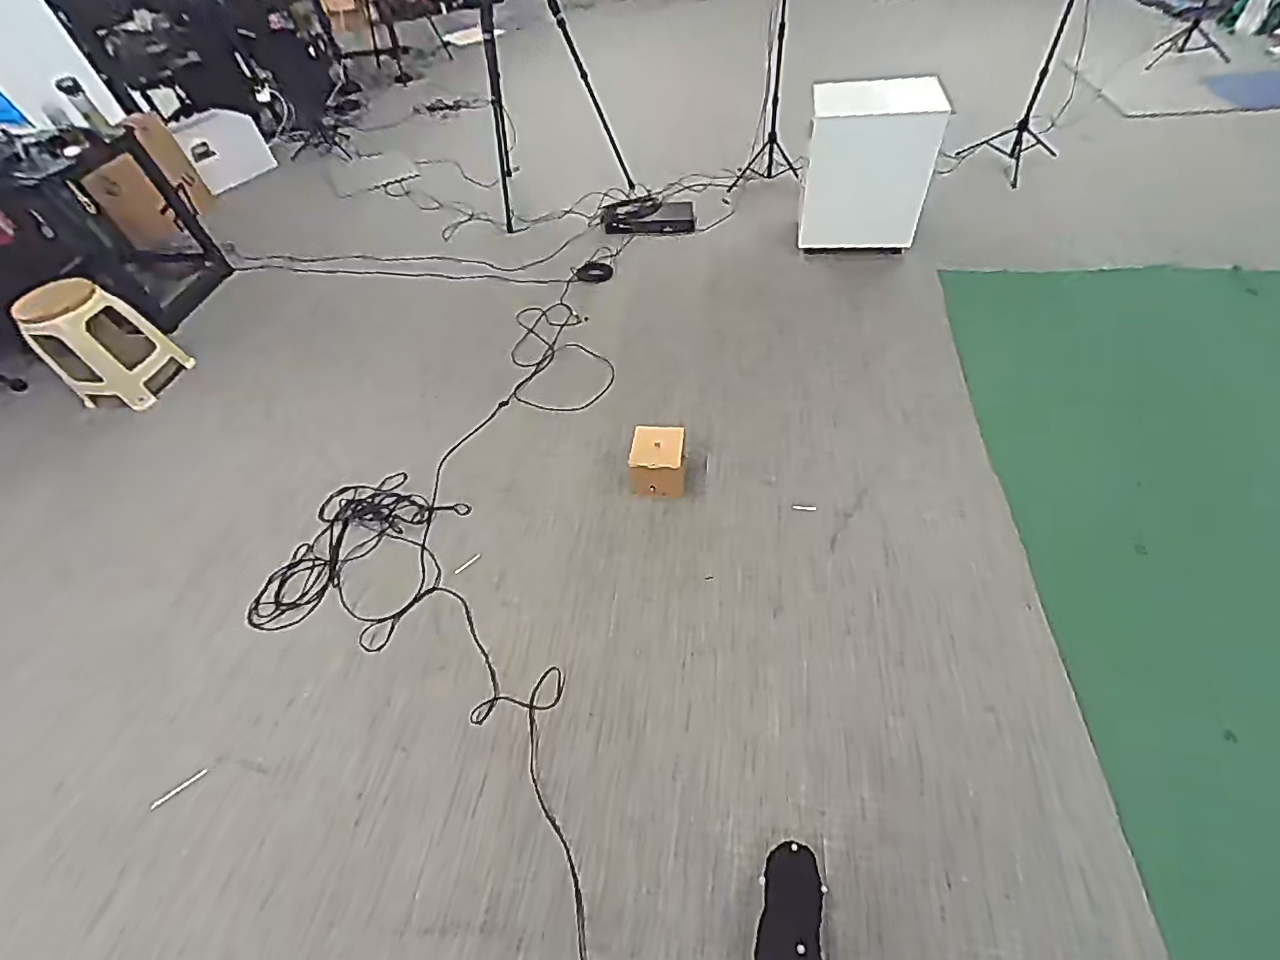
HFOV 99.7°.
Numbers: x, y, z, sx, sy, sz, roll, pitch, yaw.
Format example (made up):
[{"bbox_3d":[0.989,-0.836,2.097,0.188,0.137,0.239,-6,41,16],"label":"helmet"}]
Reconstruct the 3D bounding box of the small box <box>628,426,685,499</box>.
[{"bbox_3d":[0.062,-0.059,1.819,0.168,0.176,0.179,2,52,10],"label":"small box"}]
